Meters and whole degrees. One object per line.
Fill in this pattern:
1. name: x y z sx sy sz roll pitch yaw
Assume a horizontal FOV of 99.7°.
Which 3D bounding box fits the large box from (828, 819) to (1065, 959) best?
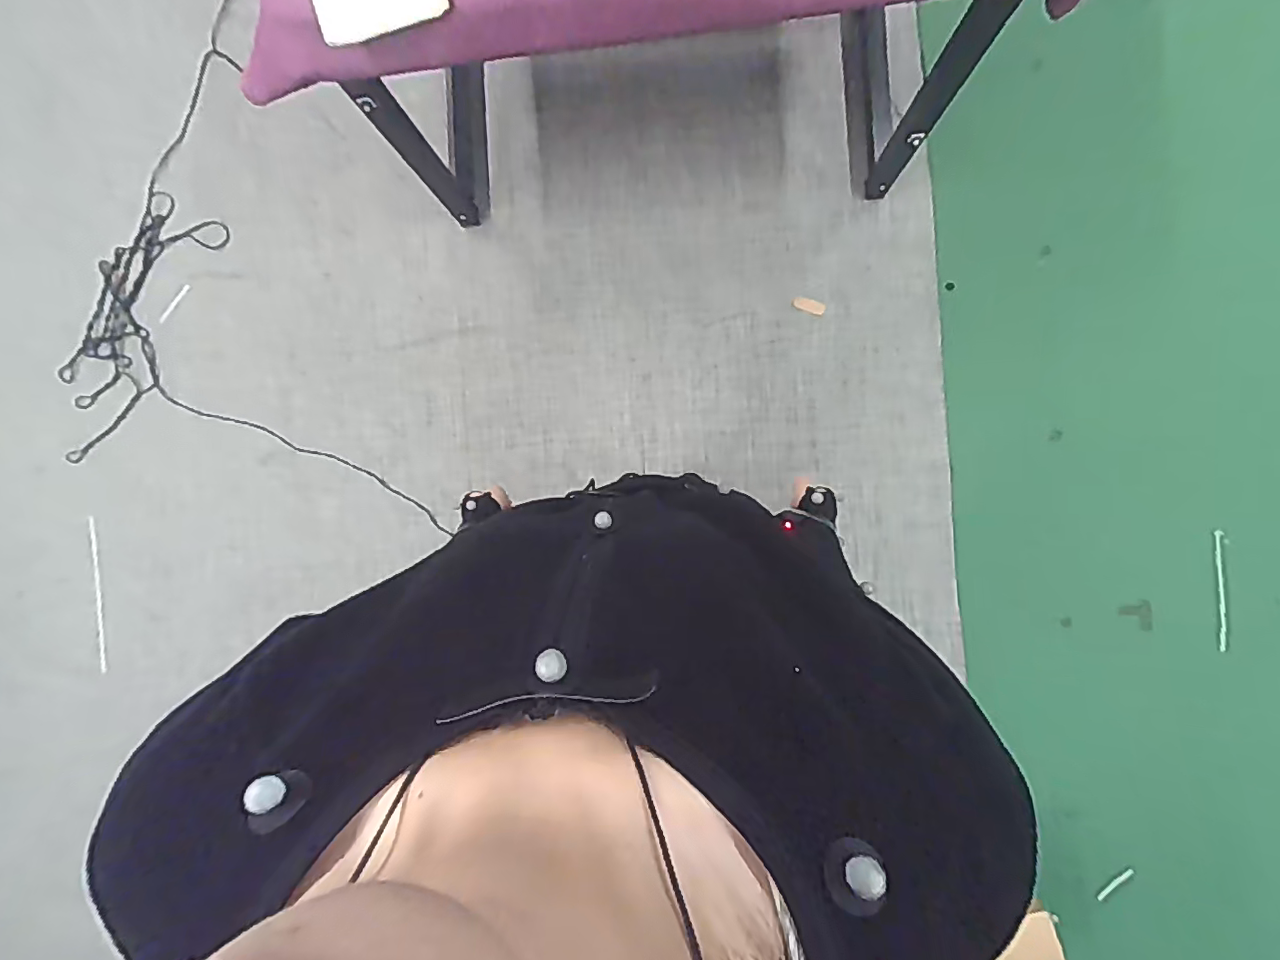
1. large box: 0.735 1.111 1.315 0.408 0.320 0.320 -18 90 3
